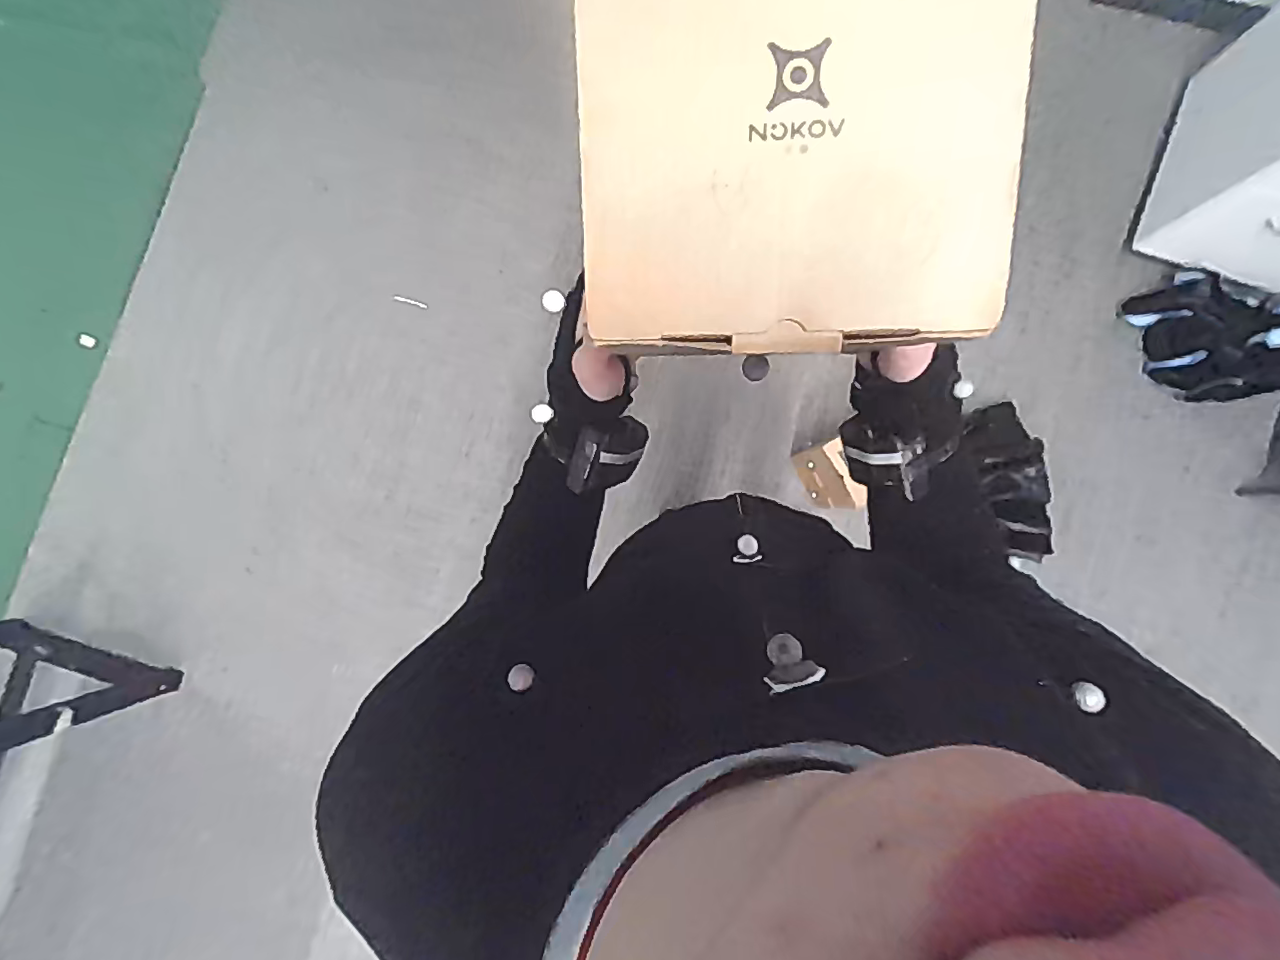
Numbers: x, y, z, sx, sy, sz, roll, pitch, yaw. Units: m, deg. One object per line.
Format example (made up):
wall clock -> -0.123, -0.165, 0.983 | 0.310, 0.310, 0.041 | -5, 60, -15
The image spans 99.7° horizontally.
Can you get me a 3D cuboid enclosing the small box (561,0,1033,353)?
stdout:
small box -> 0.057, -0.157, 0.274 | 0.168, 0.176, 0.179 | -1, 103, 2
